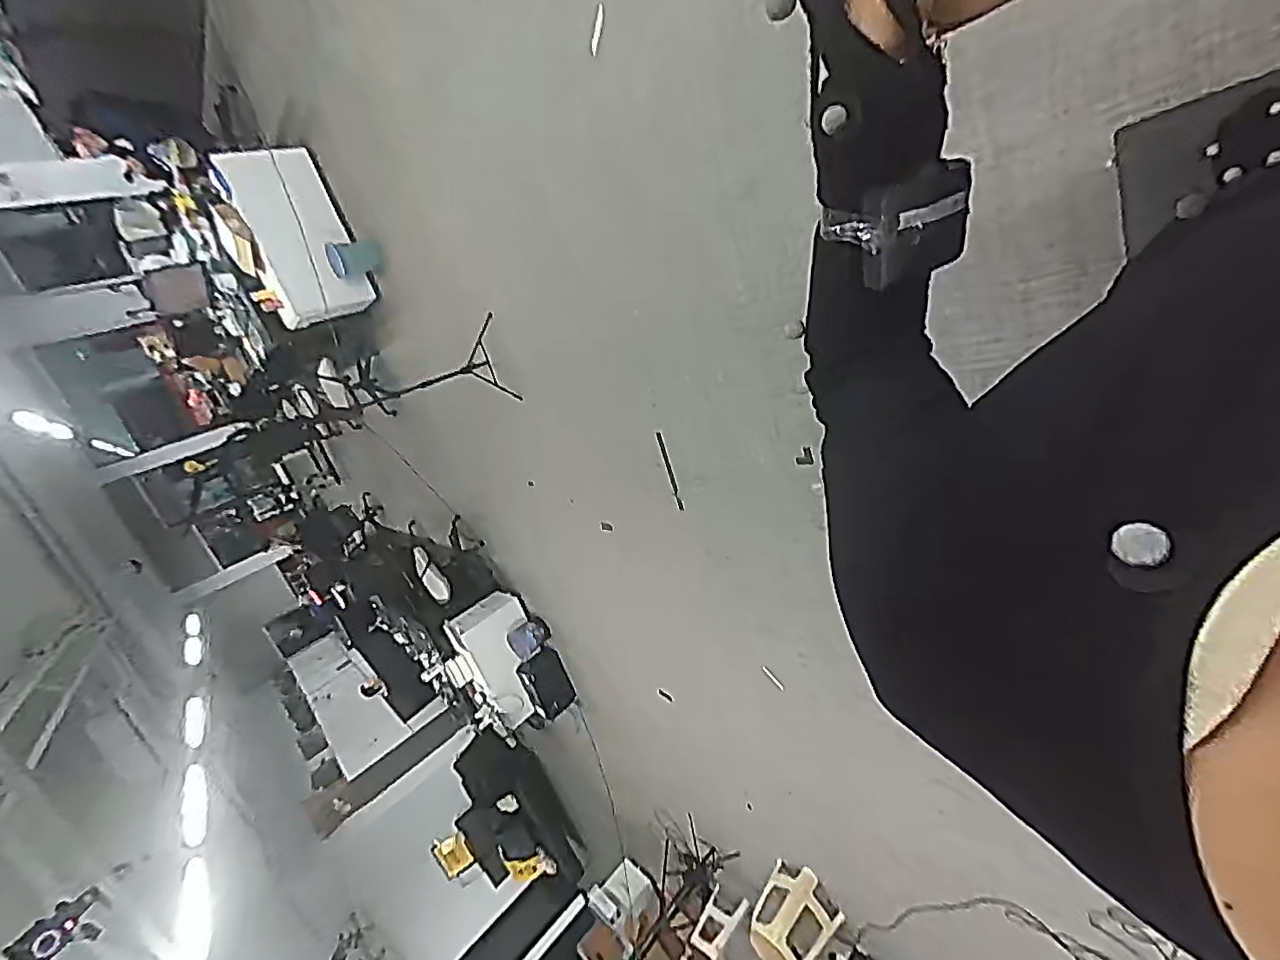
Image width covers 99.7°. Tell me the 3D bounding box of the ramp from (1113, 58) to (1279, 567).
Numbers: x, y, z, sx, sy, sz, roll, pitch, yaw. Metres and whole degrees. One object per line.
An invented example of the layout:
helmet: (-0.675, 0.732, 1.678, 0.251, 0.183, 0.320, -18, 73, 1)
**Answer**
ramp: (1.190, -0.214, 0.932, 0.509, 0.206, 0.991, -2, 115, 50)
